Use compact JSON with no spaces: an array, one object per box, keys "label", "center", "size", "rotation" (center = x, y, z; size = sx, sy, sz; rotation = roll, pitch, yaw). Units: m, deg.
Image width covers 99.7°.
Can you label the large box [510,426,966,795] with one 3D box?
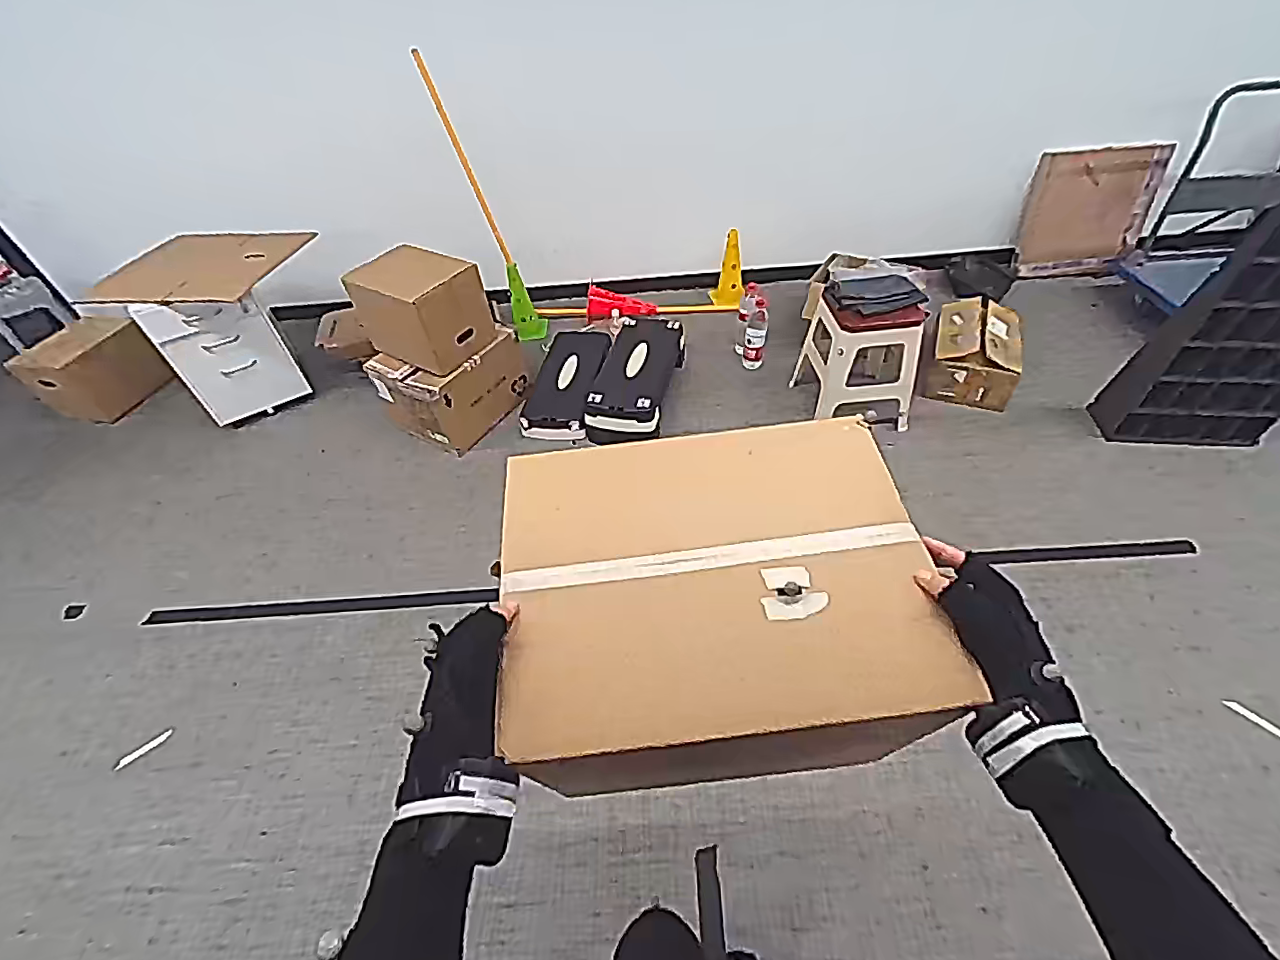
[{"label":"large box","center":[0.076,0.171,0.664],"size":[0.408,0.320,0.320],"rotation":[-7,56,-1]}]
